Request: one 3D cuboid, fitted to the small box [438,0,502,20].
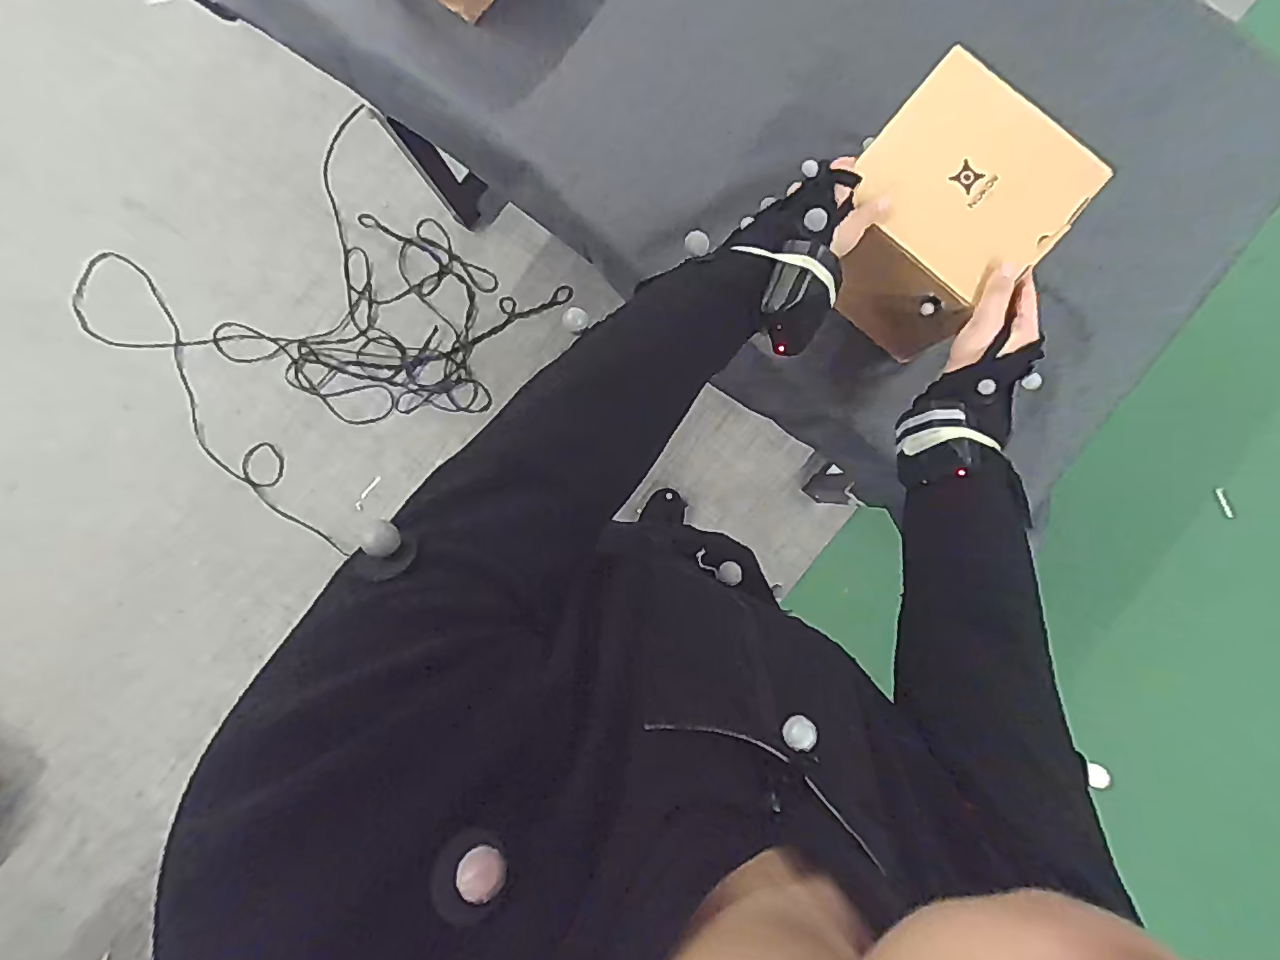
[{"bbox_3d":[-0.215,-0.651,0.566,0.179,0.176,0.168,37,92,1],"label":"small box"}]

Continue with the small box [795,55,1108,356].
[{"bbox_3d":[0.284,-0.250,0.543,0.179,0.176,0.168,41,91,2],"label":"small box"}]
